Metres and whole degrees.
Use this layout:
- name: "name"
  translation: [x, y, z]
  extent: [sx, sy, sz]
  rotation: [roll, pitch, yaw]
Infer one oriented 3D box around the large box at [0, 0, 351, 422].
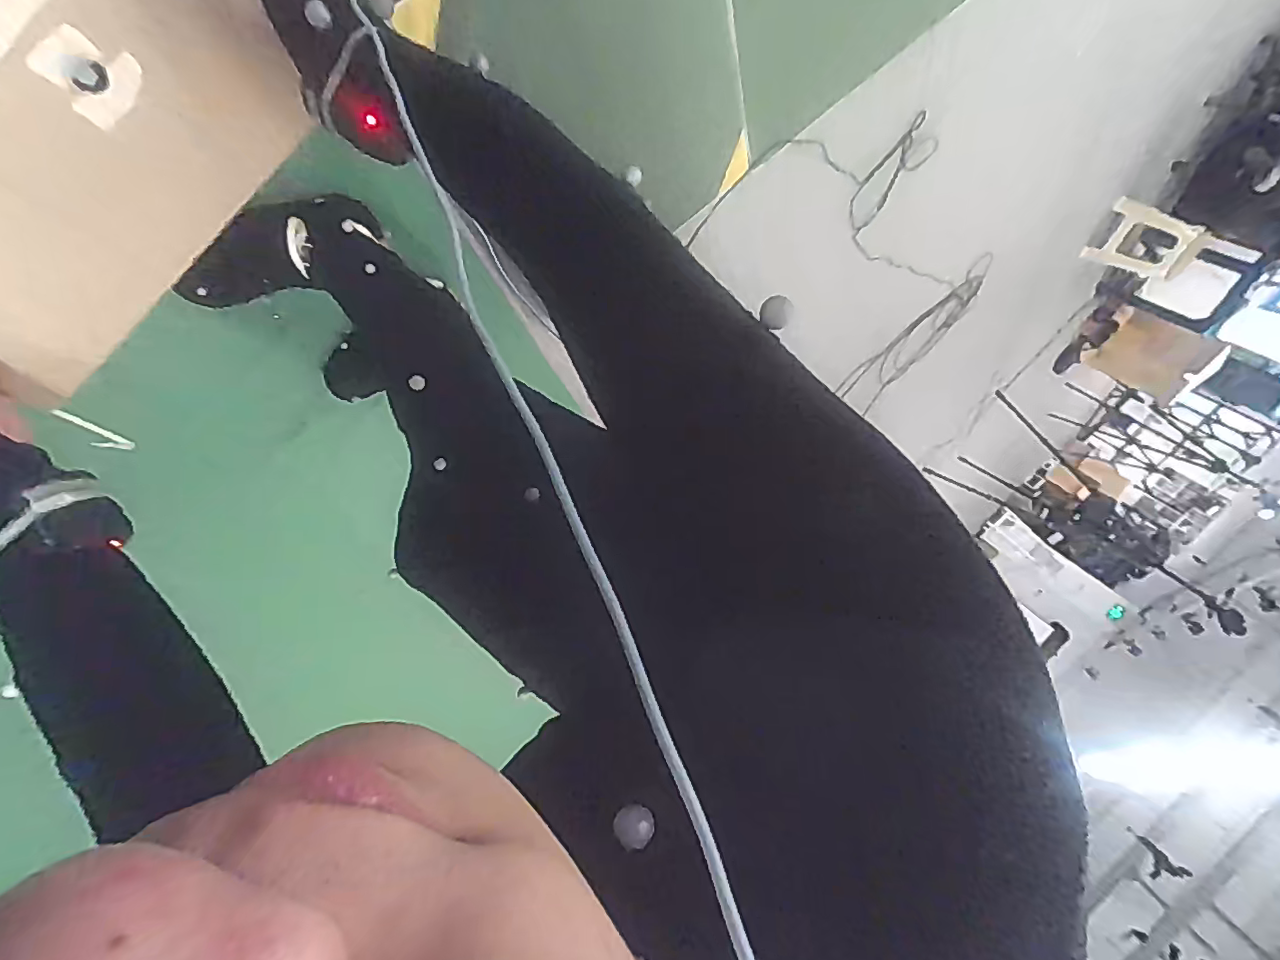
- name: "large box"
  translation: [-0.546, -0.338, 0.478]
  extent: [0.408, 0.320, 0.320]
  rotation: [-47, 141, 2]
